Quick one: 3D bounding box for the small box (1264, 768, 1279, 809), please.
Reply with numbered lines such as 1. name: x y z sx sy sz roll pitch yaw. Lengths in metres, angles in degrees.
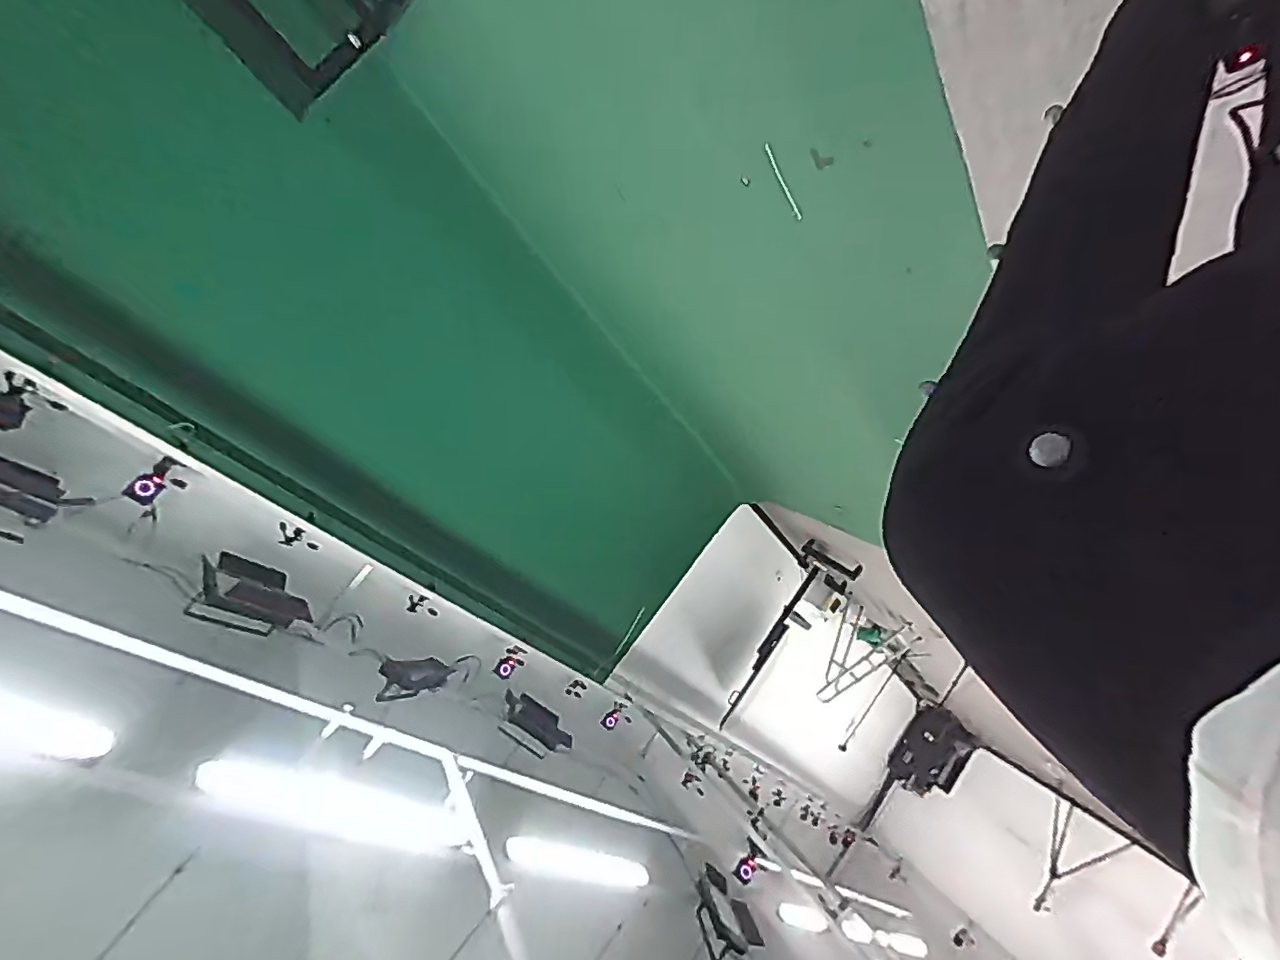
1. small box: 1.818 0.821 1.430 0.179 0.176 0.168 46 169 -37
